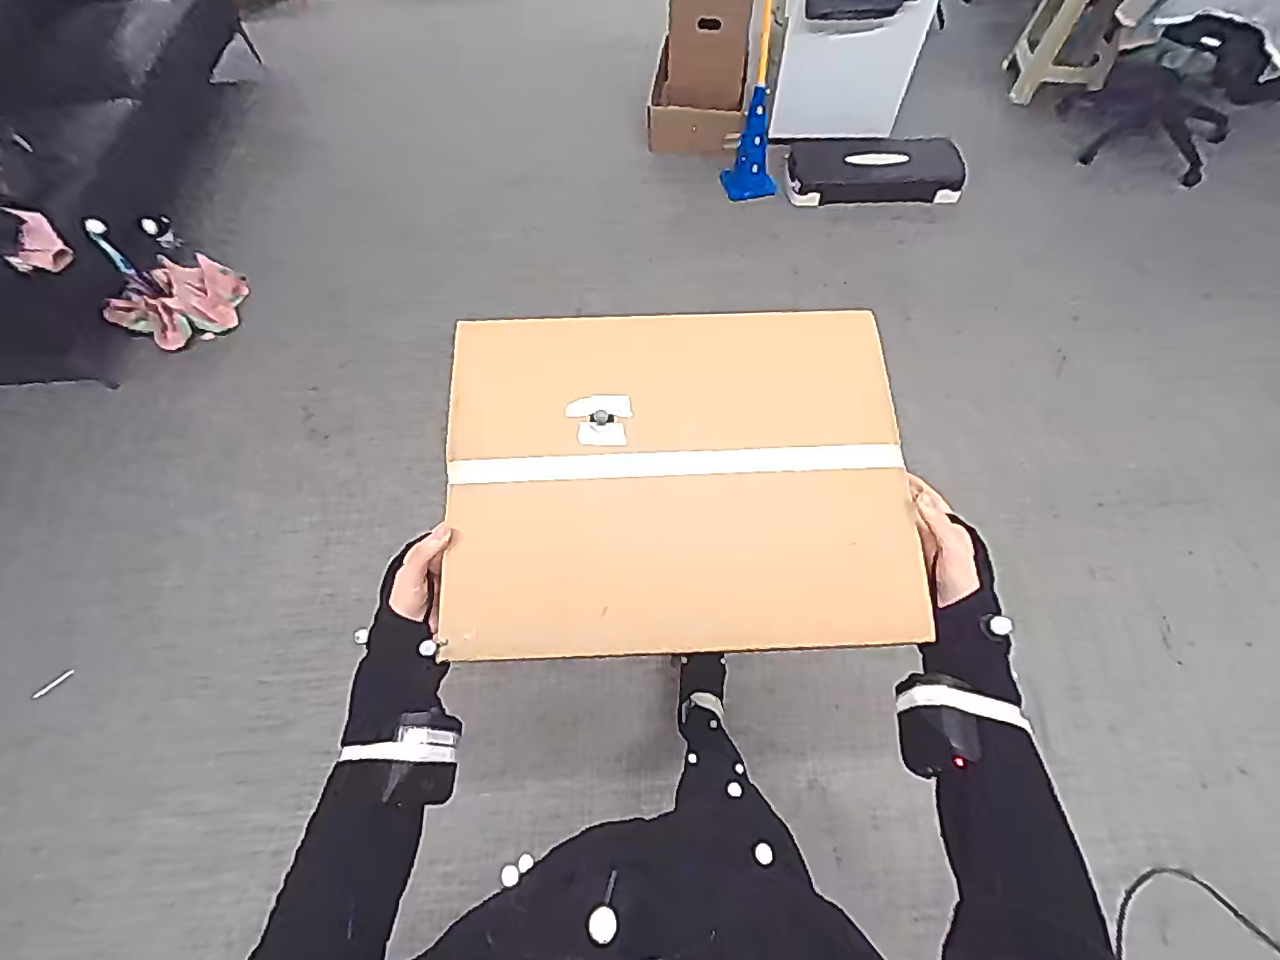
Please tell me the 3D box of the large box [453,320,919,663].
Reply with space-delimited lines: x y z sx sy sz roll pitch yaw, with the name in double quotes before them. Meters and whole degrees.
"large box" 0.035 0.037 0.639 0.408 0.320 0.320 -2 73 0
